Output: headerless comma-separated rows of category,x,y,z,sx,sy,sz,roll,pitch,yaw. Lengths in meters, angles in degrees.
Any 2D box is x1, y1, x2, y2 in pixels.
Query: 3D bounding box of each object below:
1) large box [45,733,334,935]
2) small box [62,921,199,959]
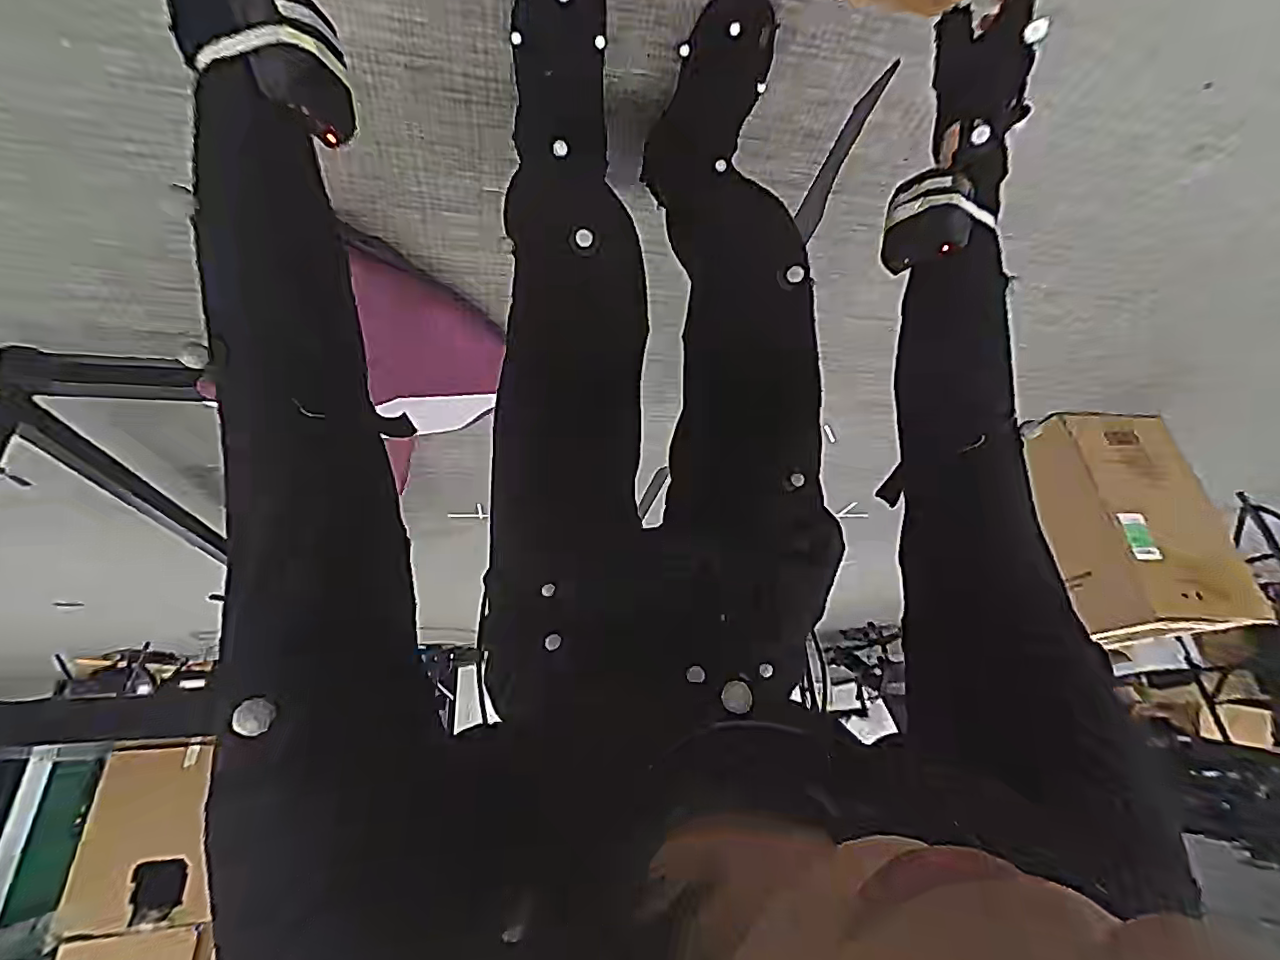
large box,-0.947,0.762,1.222,0.320,0.320,0.408,0,153,-11
small box,-0.960,0.931,1.007,0.179,0.176,0.168,7,152,-21
